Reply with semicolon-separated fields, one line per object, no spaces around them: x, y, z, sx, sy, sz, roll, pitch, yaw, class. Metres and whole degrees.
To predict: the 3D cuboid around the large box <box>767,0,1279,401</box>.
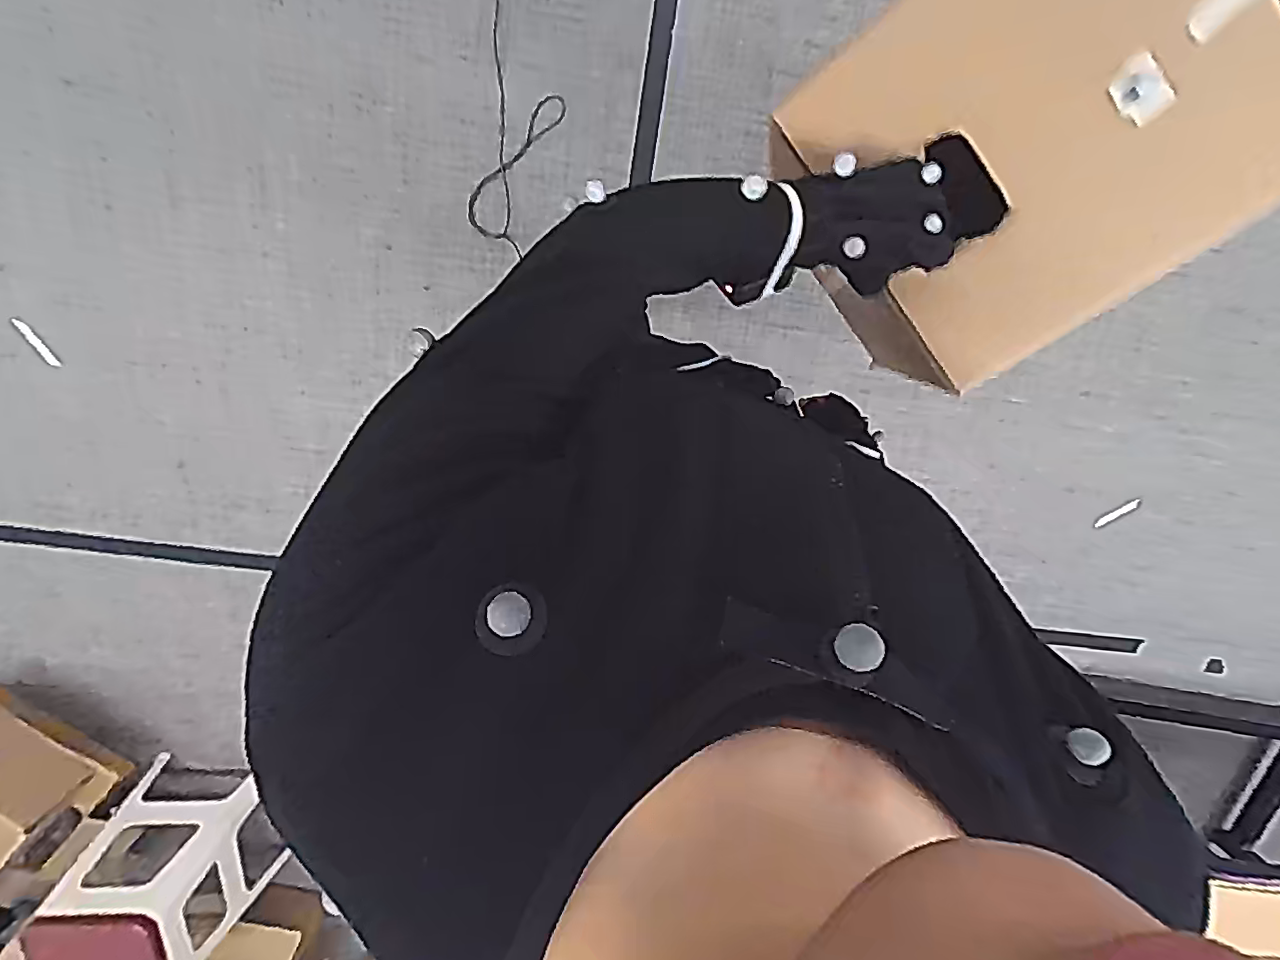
0.371;-0.320;0.636;0.320;0.408;0.320;-31;94;21;large box
